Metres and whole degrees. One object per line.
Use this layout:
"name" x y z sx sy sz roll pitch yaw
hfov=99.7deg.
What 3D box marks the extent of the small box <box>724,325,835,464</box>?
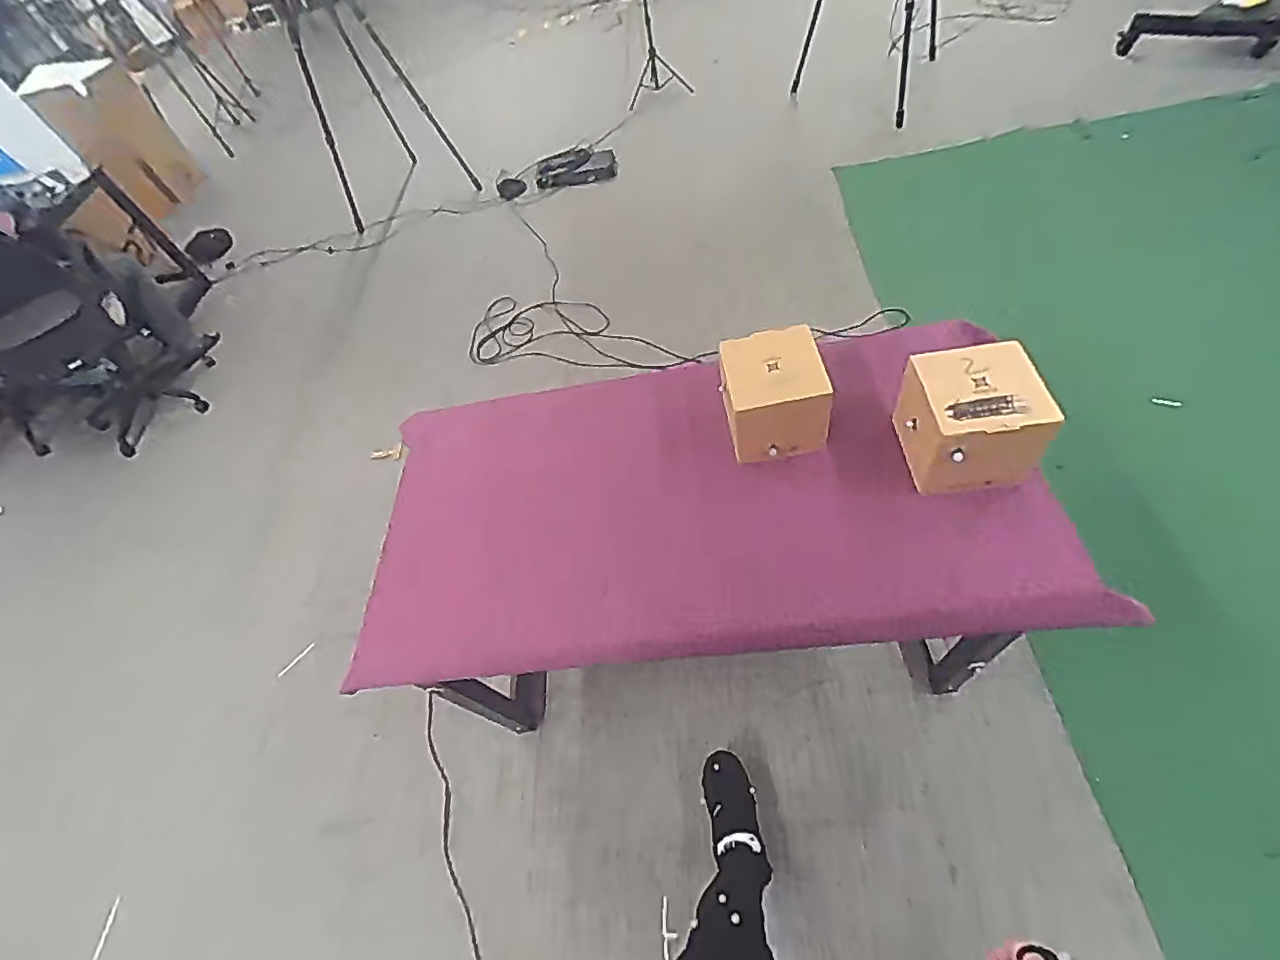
"small box" 0.251 -0.155 1.007 0.168 0.176 0.179 -9 56 8
